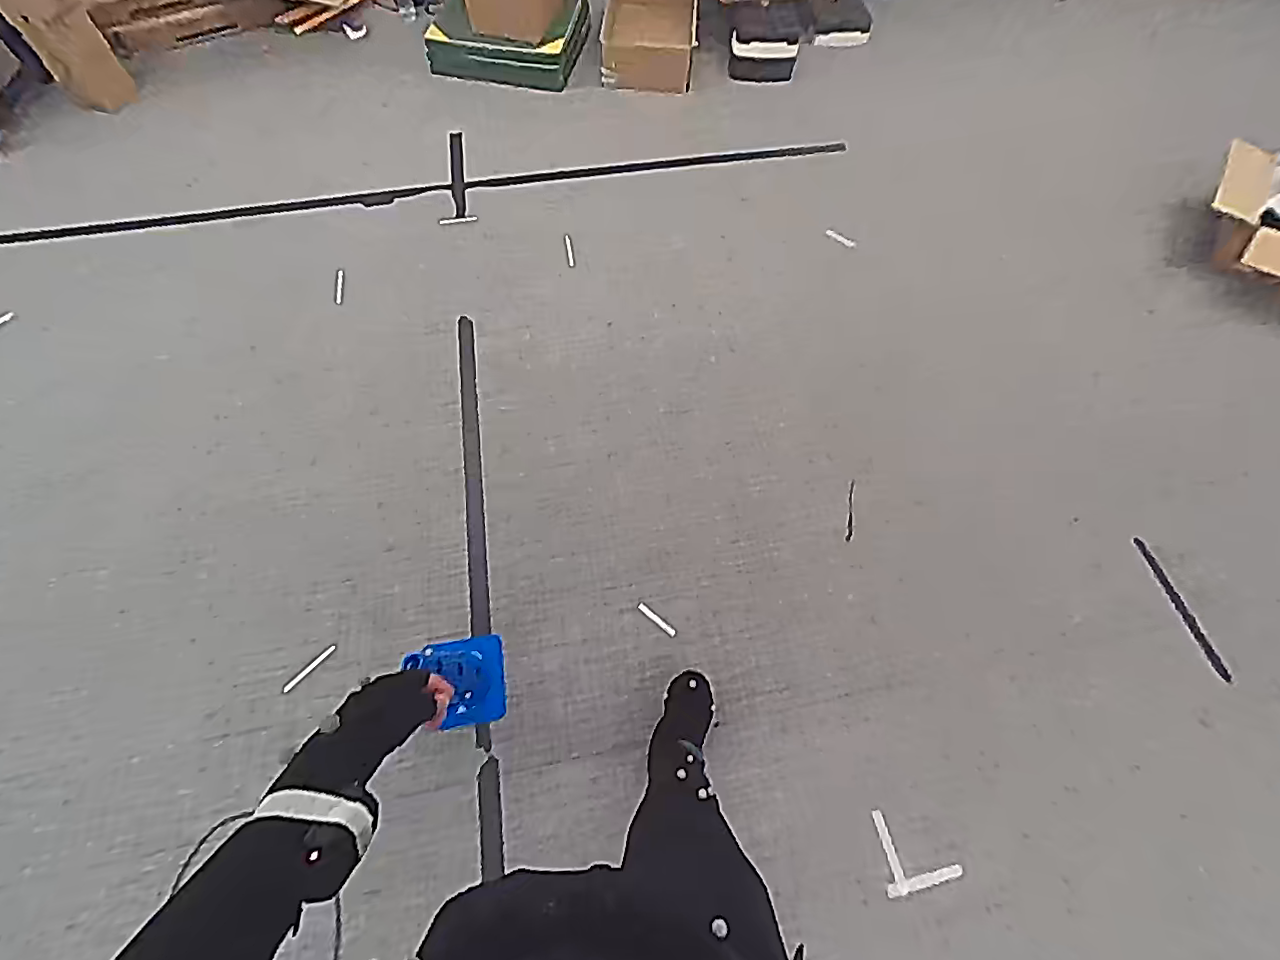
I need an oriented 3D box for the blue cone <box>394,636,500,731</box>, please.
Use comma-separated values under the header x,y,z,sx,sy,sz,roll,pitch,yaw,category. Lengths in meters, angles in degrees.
x,y,z,sx,sy,sz,roll,pitch,yaw,category
-0.428,0.414,1.138,0.193,0.380,0.192,-10,65,-6,blue cone
